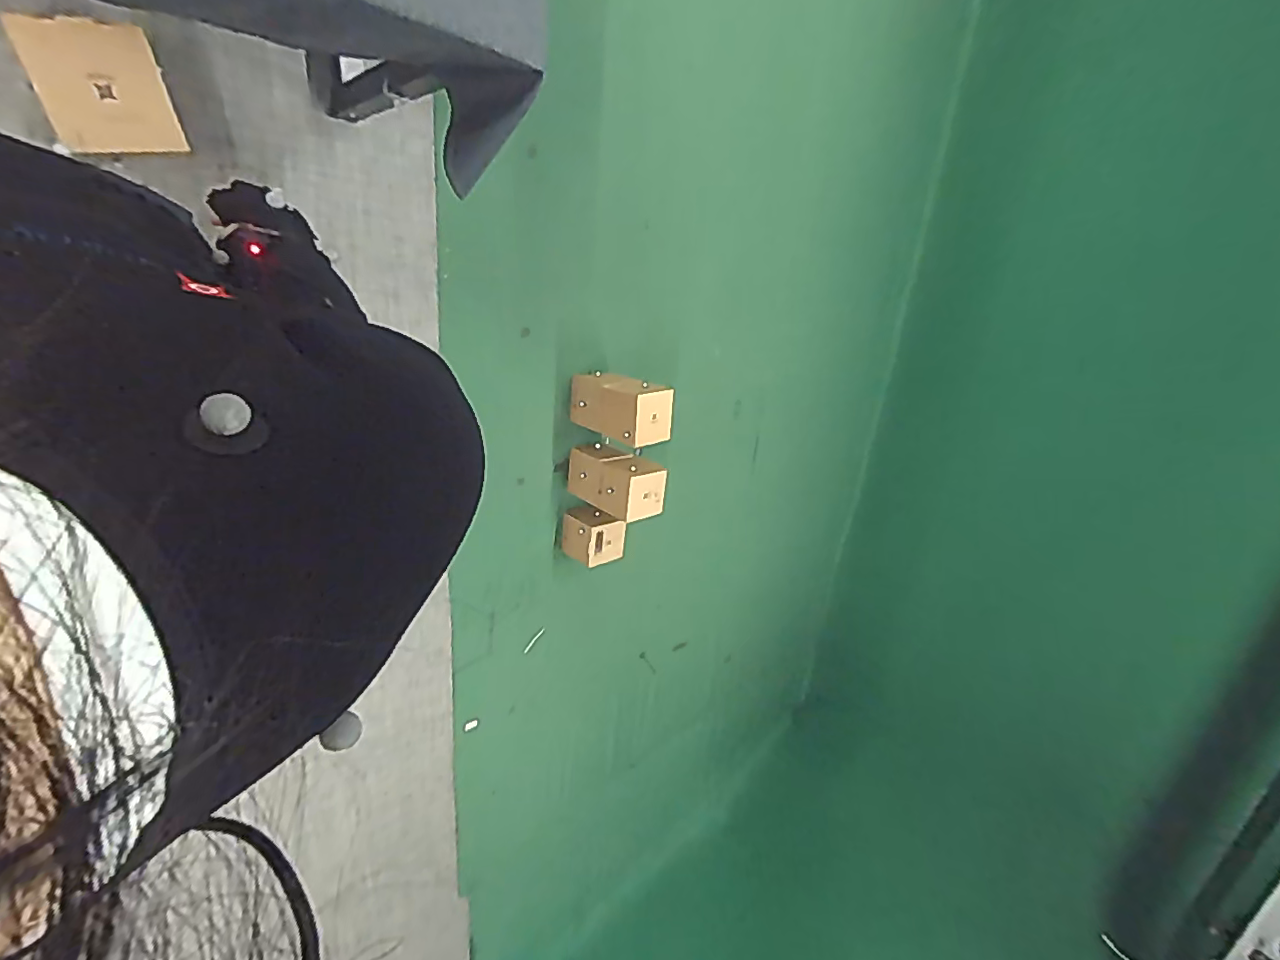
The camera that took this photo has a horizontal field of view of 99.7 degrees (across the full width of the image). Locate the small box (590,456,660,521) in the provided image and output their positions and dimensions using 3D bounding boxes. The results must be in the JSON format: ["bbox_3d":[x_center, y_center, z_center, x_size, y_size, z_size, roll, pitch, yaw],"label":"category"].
[{"bbox_3d":[-0.057,0.024,1.890,0.179,0.176,0.168,-12,118,-44],"label":"small box"}]

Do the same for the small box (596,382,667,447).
[{"bbox_3d":[-0.032,-0.226,1.799,0.168,0.176,0.179,-17,120,-42],"label":"small box"}]

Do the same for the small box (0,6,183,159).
[{"bbox_3d":[-0.911,-0.646,0.901,0.168,0.176,0.179,-27,126,-36],"label":"small box"}]
